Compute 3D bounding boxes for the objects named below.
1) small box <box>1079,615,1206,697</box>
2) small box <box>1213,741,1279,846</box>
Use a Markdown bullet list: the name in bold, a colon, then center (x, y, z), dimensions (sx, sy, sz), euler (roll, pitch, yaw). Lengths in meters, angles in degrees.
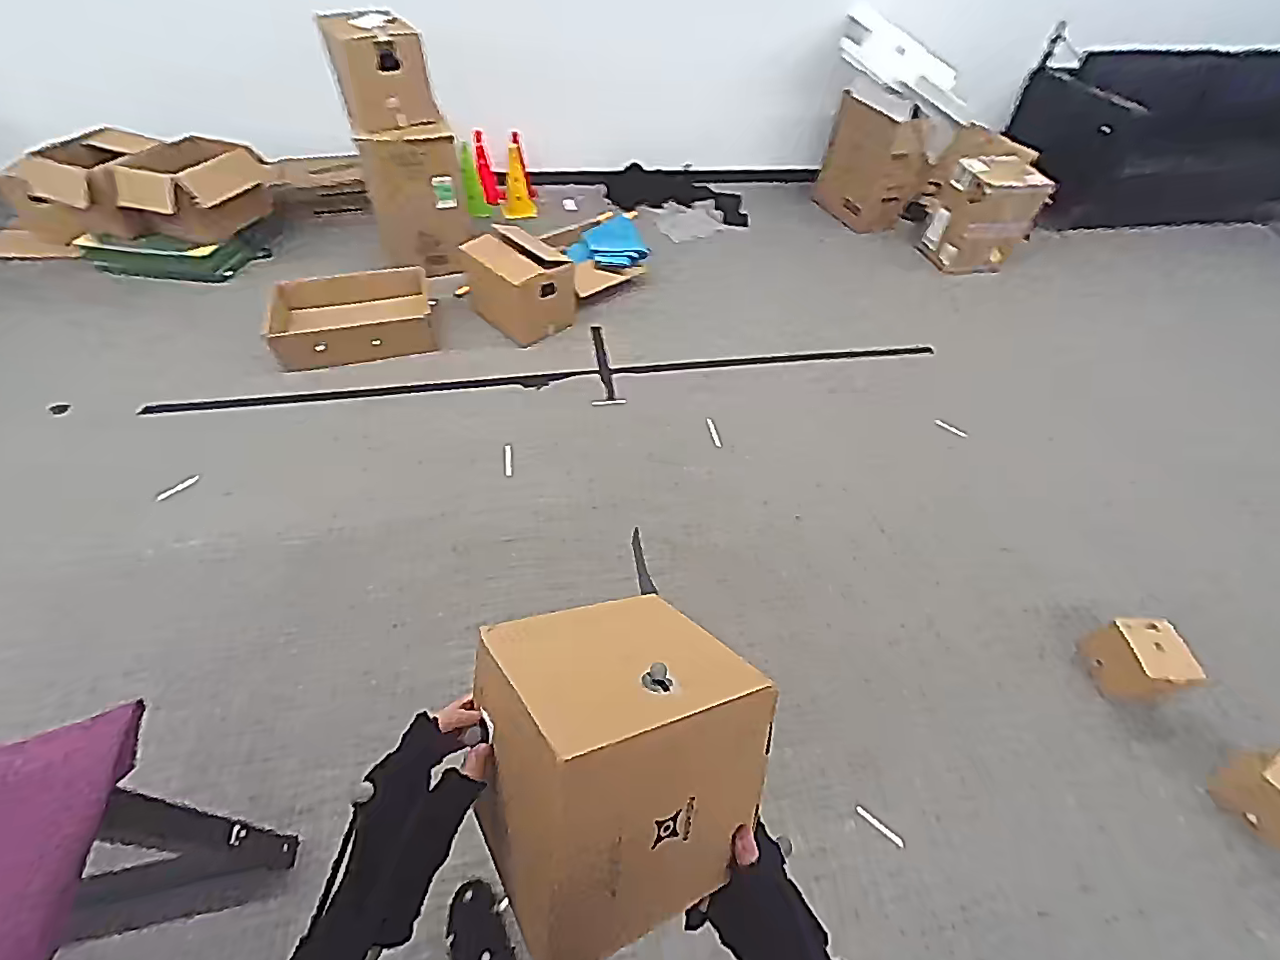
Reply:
- **small box**: center (1.429, 0.509, 1.553), dimensions (0.168, 0.176, 0.179), euler (3, 49, -2)
- **small box**: center (1.606, 0.771, 1.341), dimensions (0.179, 0.176, 0.168), euler (-23, 55, -21)
